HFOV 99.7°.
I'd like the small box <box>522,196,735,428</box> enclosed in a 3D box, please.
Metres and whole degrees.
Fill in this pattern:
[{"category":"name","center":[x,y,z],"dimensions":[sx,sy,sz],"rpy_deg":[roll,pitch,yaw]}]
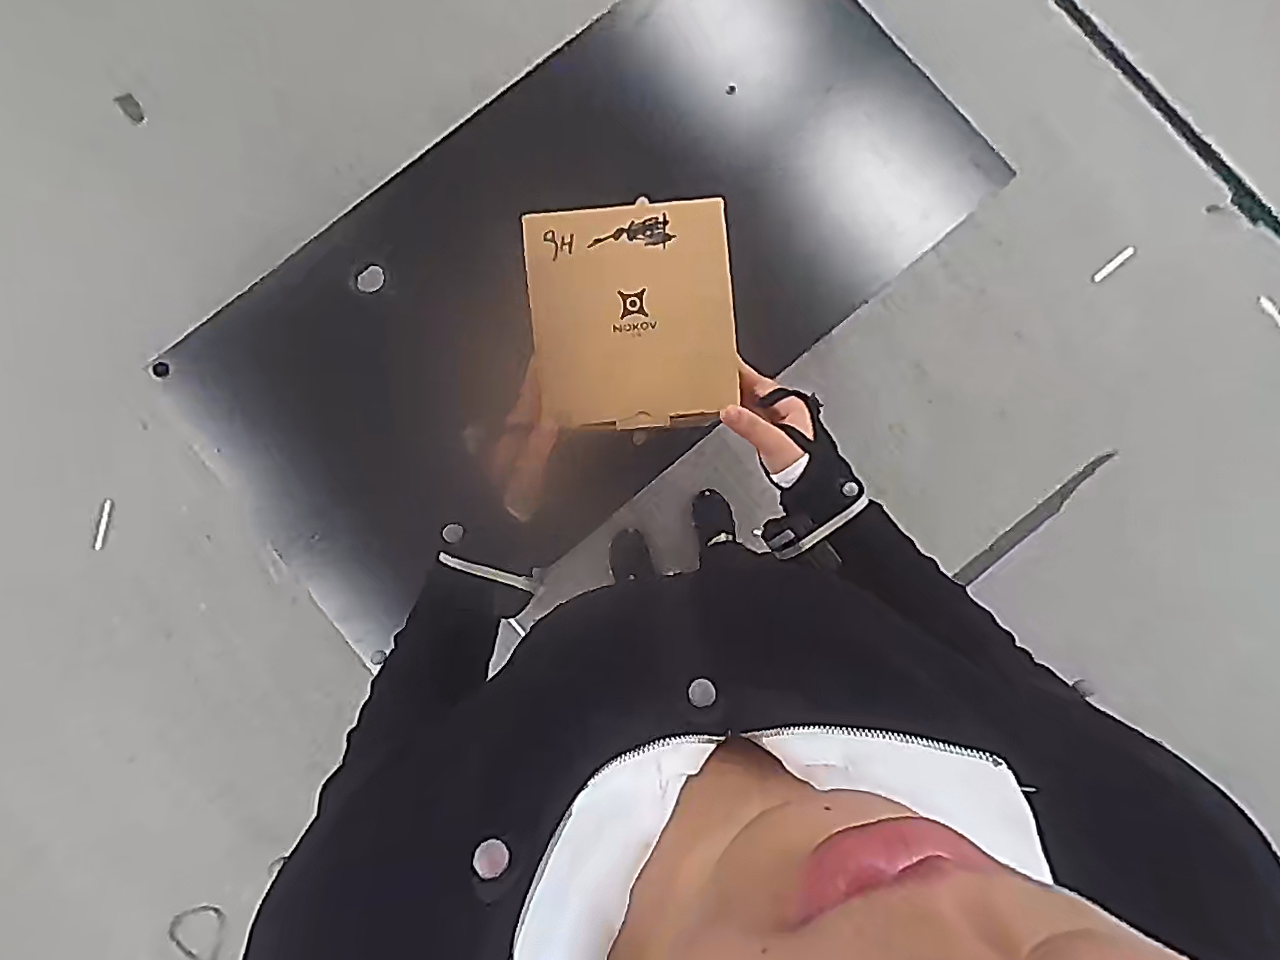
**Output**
[{"category":"small box","center":[-0.008,-0.144,0.522],"dimensions":[0.168,0.176,0.179],"rpy_deg":[-5,94,-1]}]
